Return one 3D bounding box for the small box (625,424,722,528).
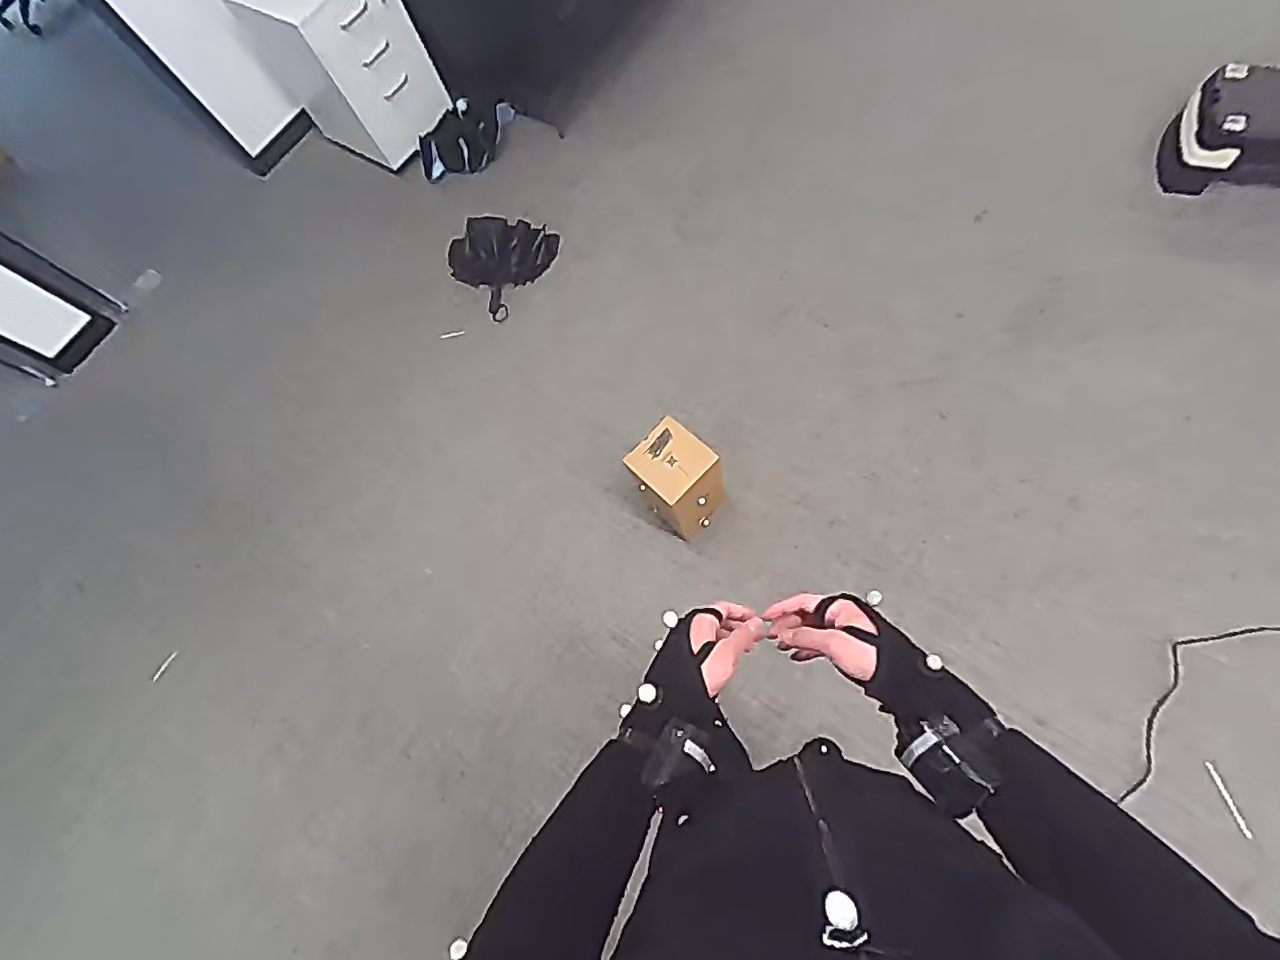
[{"bbox_3d":[0.089,-0.002,1.373,0.168,0.176,0.179,-44,68,-6],"label":"small box"}]

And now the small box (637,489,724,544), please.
[{"bbox_3d":[0.118,0.057,1.523,0.168,0.176,0.179,-45,69,-7],"label":"small box"}]
